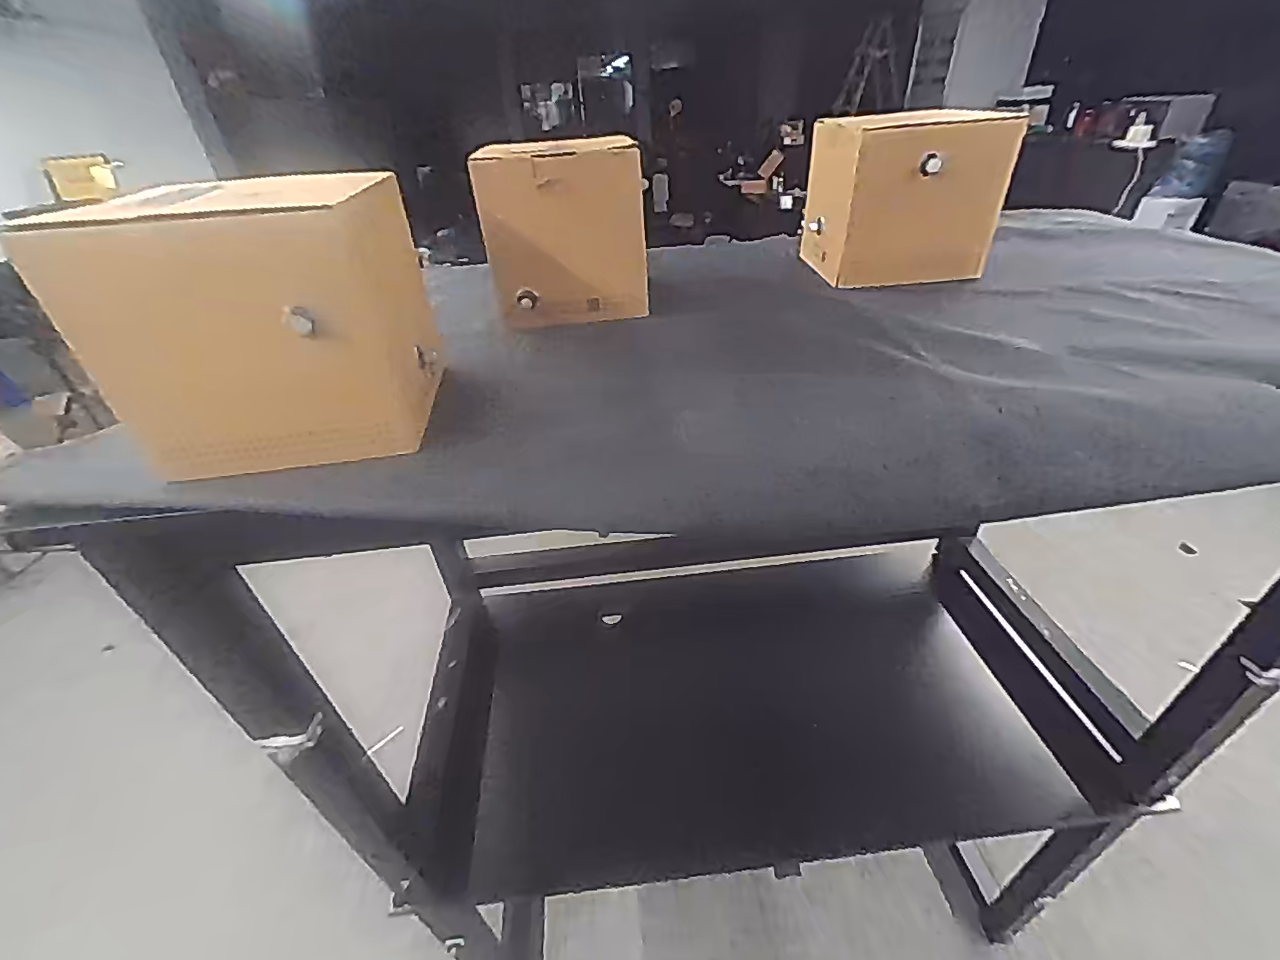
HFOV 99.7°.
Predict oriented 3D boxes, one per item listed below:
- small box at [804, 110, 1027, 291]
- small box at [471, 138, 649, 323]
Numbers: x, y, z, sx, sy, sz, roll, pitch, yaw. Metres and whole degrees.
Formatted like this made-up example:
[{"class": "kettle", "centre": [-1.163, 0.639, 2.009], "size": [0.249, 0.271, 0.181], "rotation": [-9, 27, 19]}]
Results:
[{"class": "small box", "centre": [0.317, -0.344, 0.666], "size": [0.179, 0.176, 0.168], "rotation": [-5, 35, 1]}, {"class": "small box", "centre": [-0.082, -0.287, 0.629], "size": [0.168, 0.176, 0.179], "rotation": [-6, 34, -2]}]
